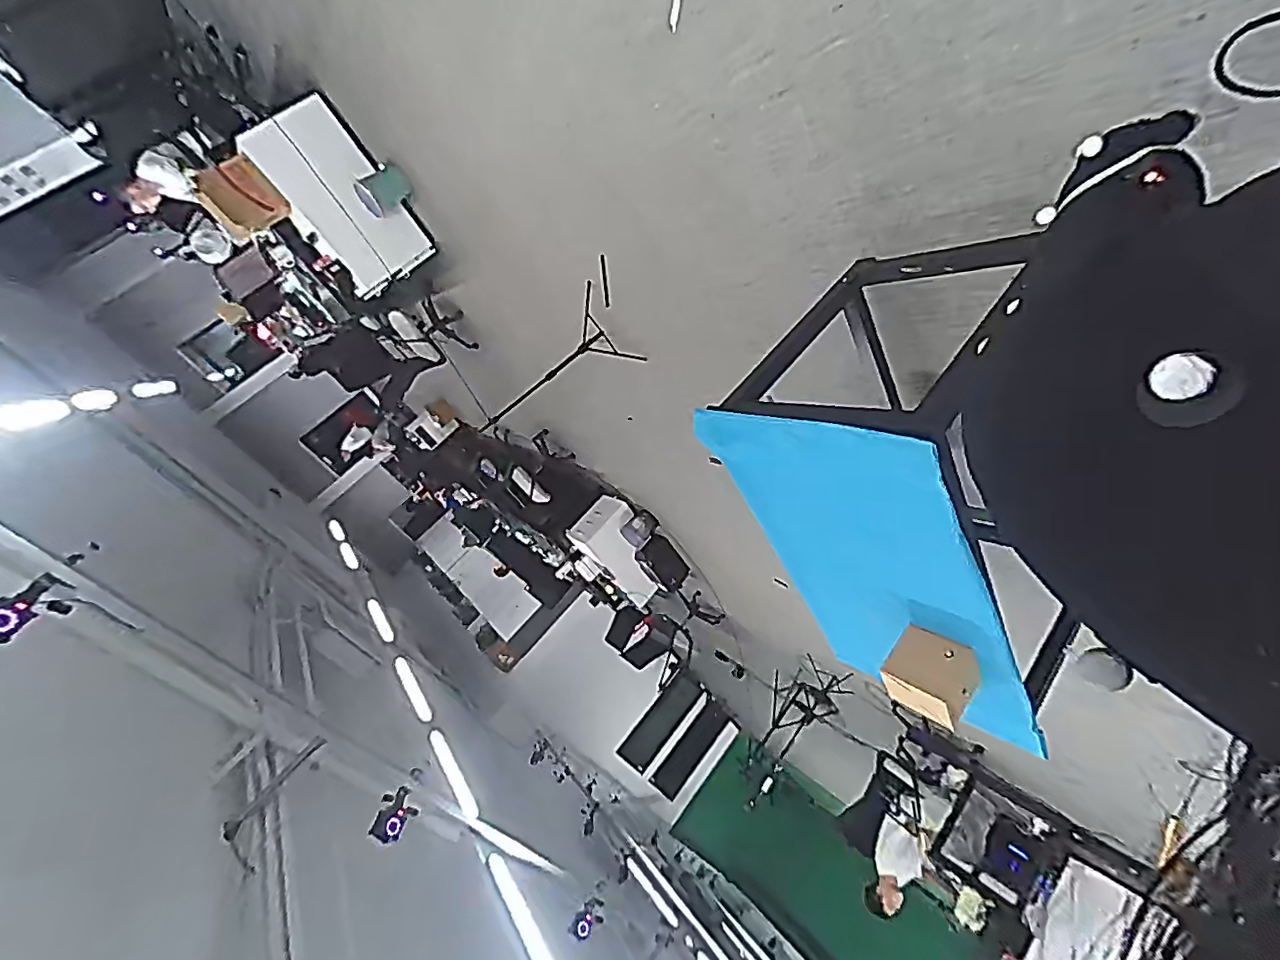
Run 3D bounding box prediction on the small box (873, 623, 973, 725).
[{"bbox_3d":[0.778,0.533,1.485,0.179,0.176,0.168,19,149,49],"label":"small box"}]
